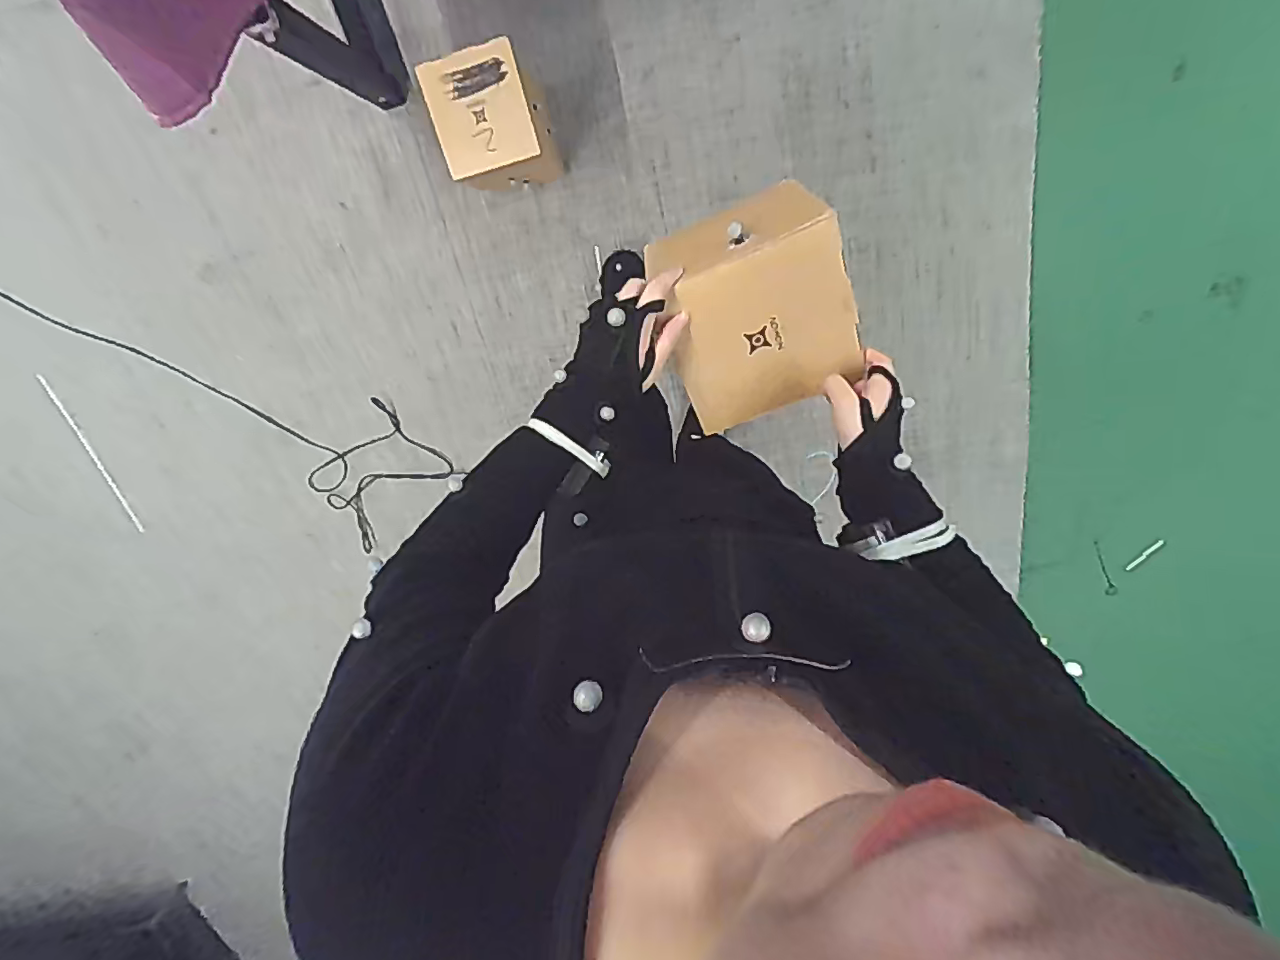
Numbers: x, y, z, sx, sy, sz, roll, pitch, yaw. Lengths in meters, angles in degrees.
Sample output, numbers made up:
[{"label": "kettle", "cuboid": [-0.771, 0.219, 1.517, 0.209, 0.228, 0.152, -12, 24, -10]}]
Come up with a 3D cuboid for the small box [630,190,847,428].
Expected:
[{"label": "small box", "cuboid": [0.101, -0.189, 0.590, 0.179, 0.176, 0.168, -20, 124, 13]}]

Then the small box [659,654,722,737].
[{"label": "small box", "cuboid": [0.154, 0.661, 1.683, 0.168, 0.176, 0.179, -12, 112, 7]}]

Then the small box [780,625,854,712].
[{"label": "small box", "cuboid": [0.526, 0.563, 1.628, 0.179, 0.176, 0.168, -12, 112, 7]}]
